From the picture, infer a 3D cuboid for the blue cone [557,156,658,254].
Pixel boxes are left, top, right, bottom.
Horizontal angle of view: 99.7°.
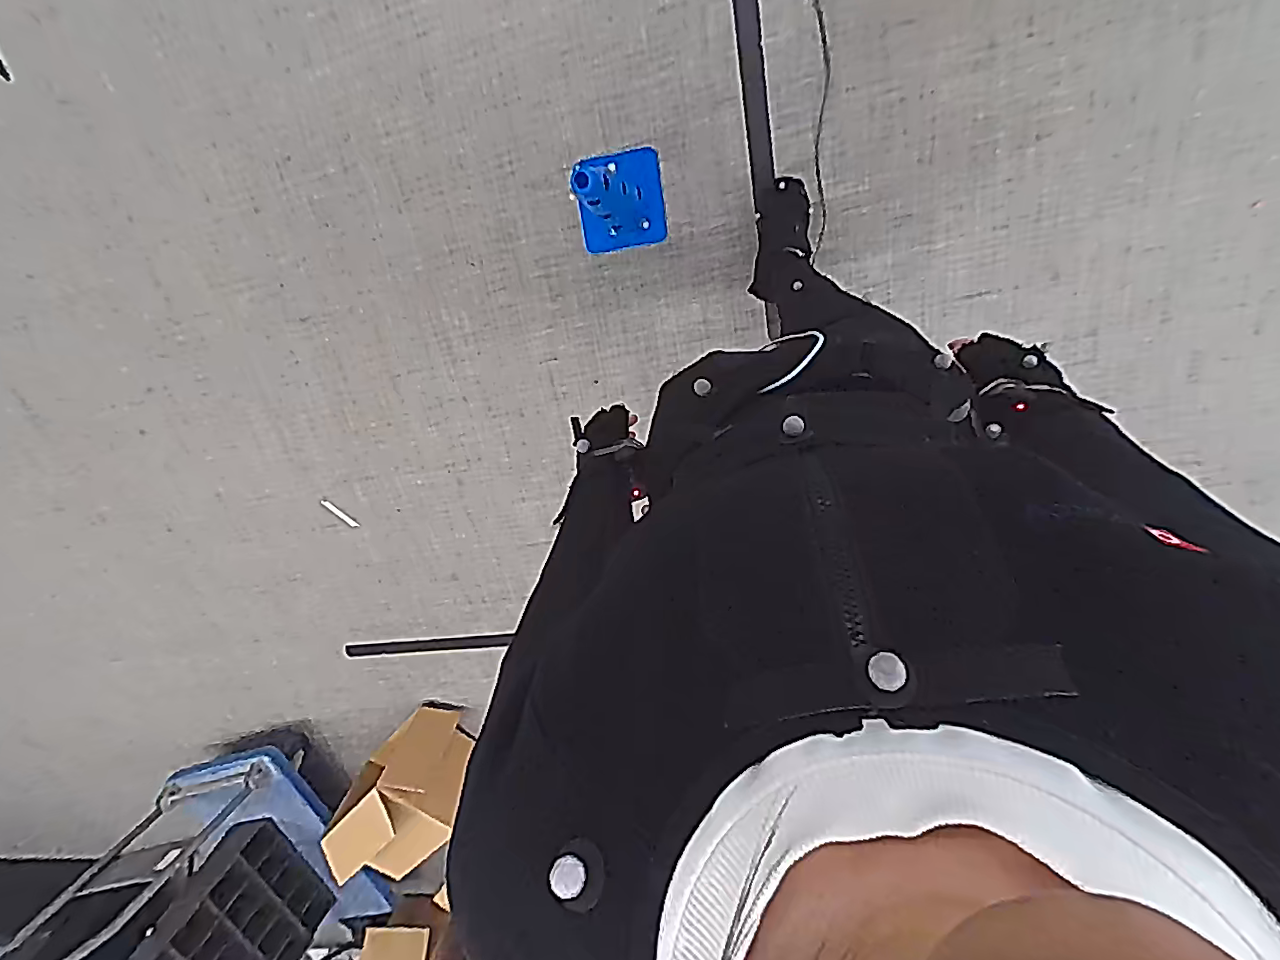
[{"bbox_3d":[-0.085,-0.581,1.108,0.192,0.380,0.193,-3,110,12],"label":"blue cone"}]
